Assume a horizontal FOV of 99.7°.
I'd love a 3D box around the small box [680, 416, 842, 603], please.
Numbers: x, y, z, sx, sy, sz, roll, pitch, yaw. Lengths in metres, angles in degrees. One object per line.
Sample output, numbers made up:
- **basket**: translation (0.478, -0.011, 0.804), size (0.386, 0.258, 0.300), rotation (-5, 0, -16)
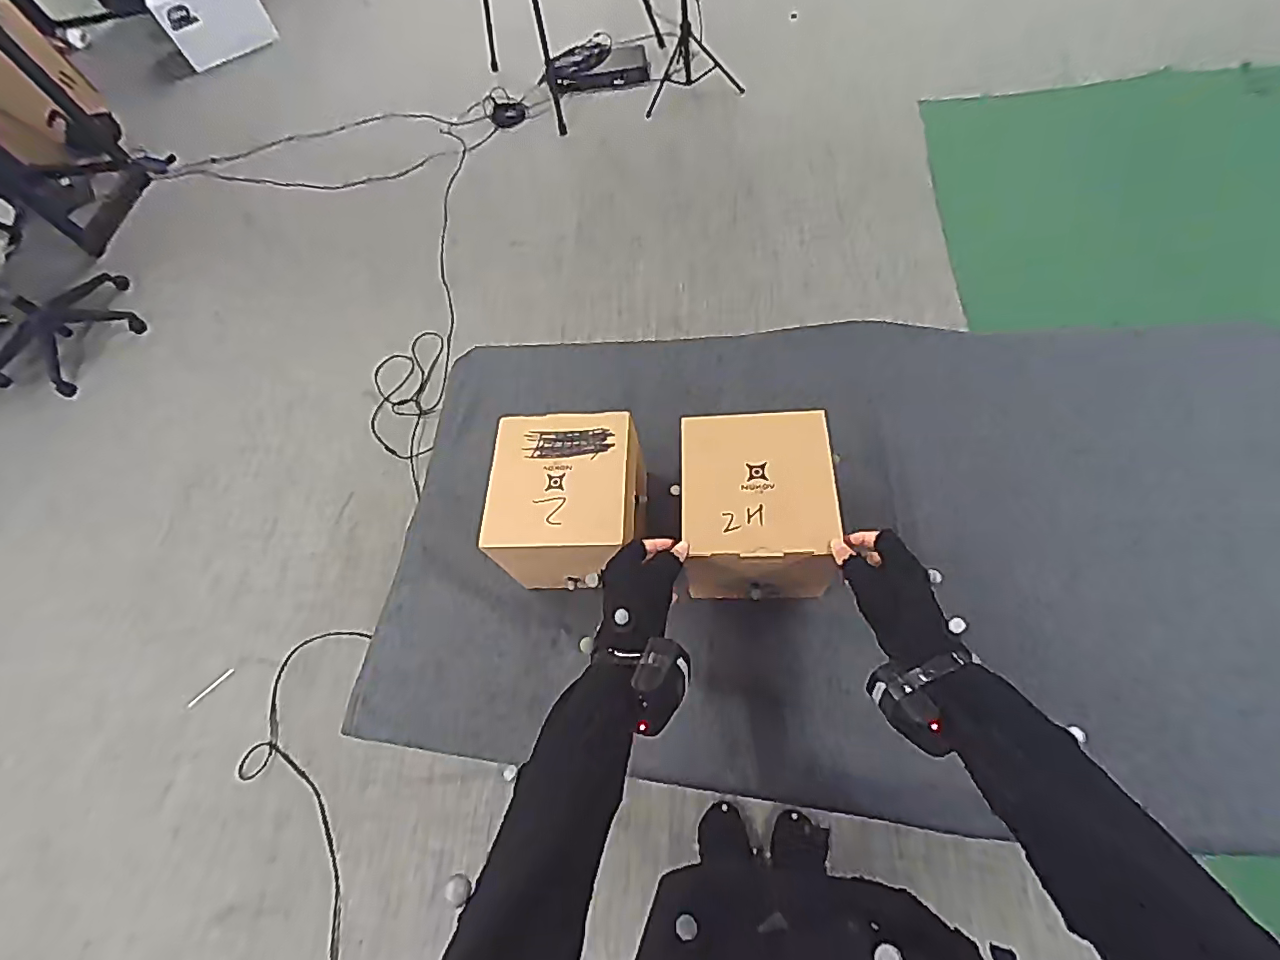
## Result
- **small box**: translation (0.138, 0.041, 0.662), size (0.168, 0.176, 0.179), rotation (-2, 62, 9)
